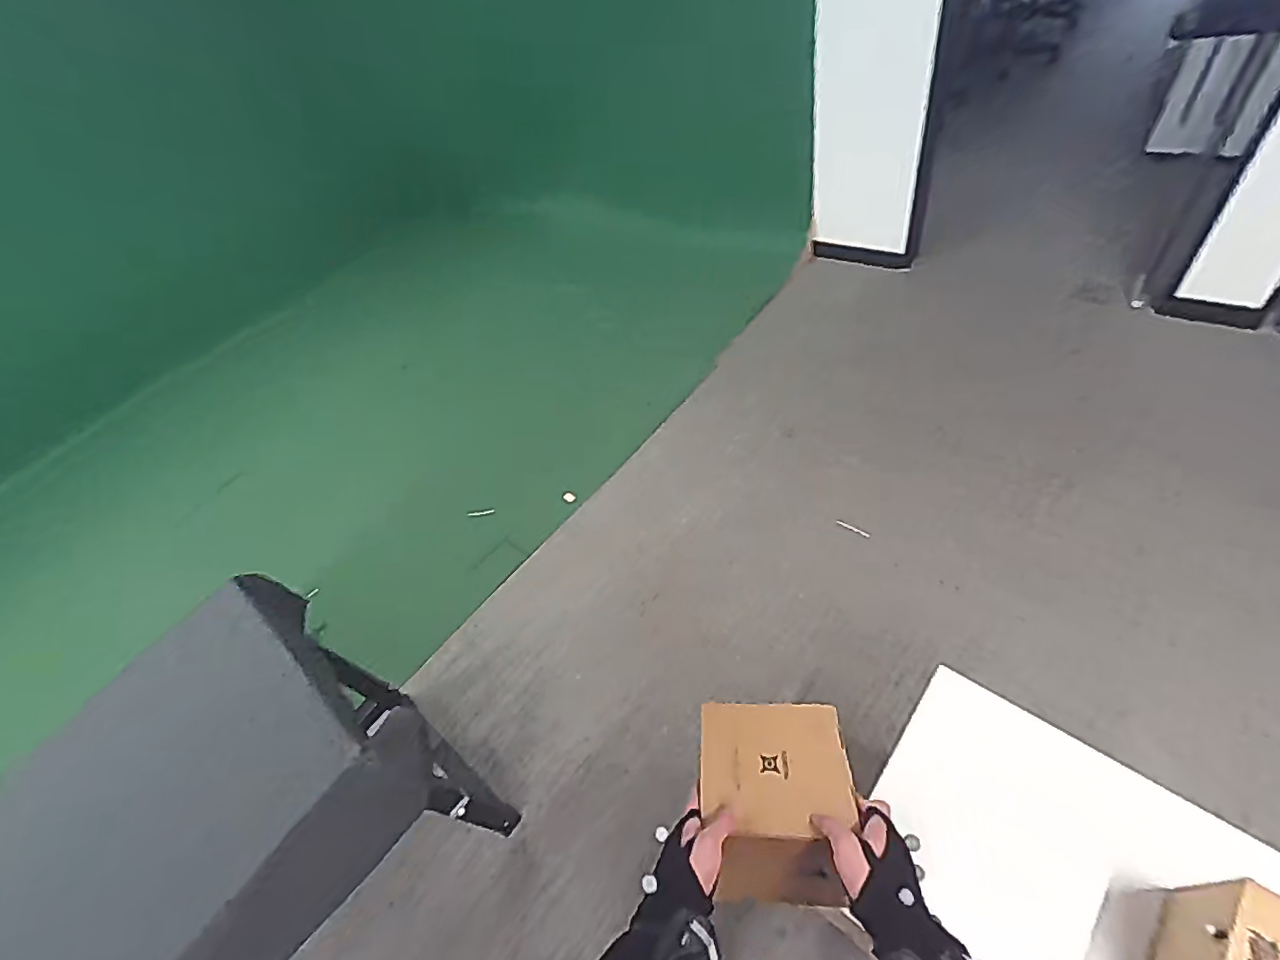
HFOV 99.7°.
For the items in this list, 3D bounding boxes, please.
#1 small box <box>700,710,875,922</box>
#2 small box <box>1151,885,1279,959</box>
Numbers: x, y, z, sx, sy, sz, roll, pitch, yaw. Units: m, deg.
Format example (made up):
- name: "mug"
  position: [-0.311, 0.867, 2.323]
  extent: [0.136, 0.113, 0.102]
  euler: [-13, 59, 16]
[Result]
- name: "small box"
  position: [0.168, 0.409, 0.666]
  extent: [0.179, 0.176, 0.168]
  euler: [-5, 29, 6]
- name: "small box"
  position: [0.659, 0.549, 0.537]
  extent: [0.179, 0.176, 0.168]
  euler: [29, 61, 33]
